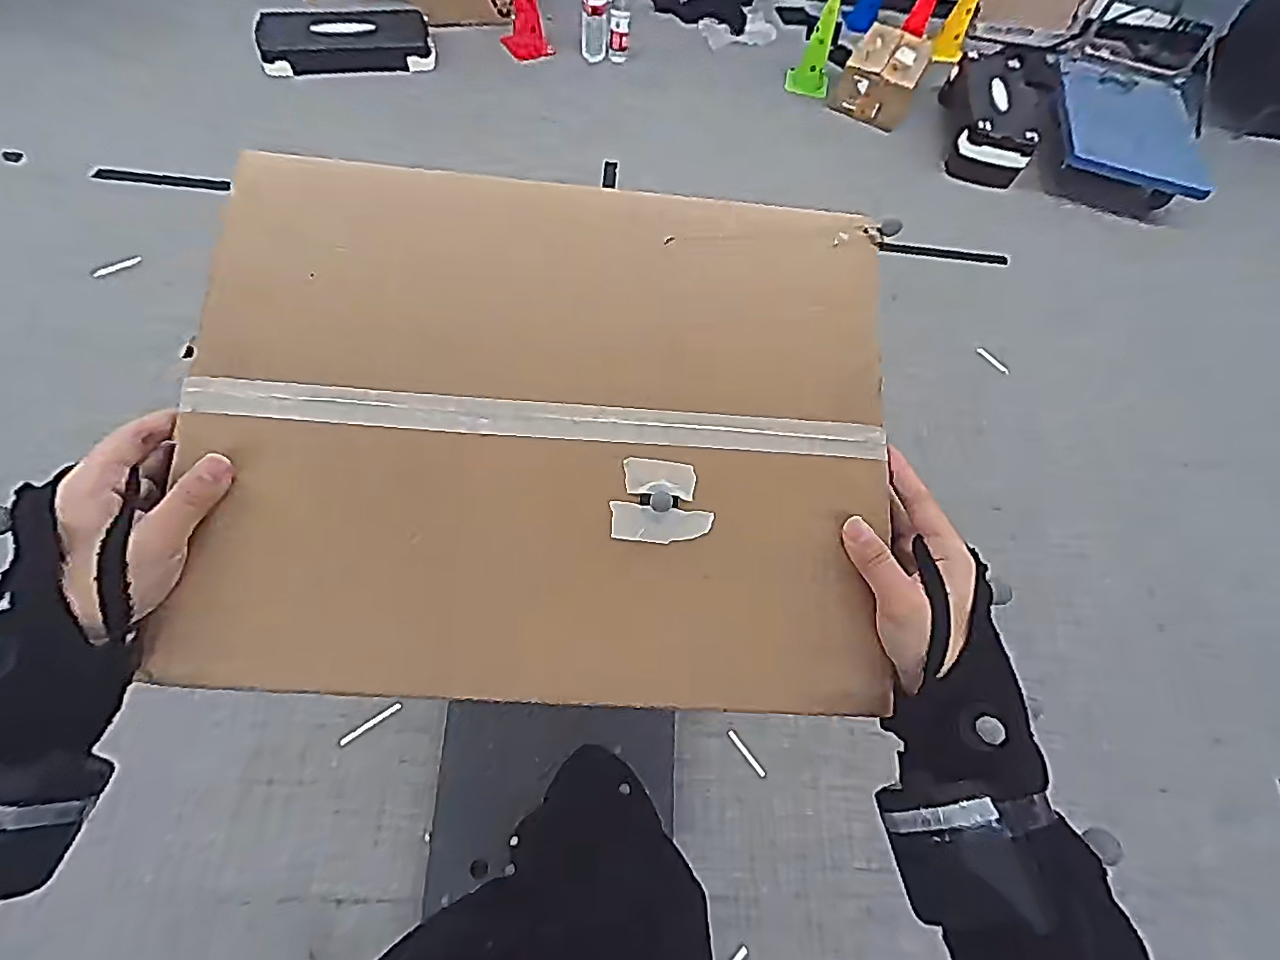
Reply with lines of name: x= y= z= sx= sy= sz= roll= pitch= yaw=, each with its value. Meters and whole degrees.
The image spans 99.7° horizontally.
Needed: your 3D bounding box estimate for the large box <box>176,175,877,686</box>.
large box: x=-0.062 y=-0.011 z=0.480 sx=0.408 sy=0.320 sz=0.320 roll=4 pitch=80 yaw=-4
